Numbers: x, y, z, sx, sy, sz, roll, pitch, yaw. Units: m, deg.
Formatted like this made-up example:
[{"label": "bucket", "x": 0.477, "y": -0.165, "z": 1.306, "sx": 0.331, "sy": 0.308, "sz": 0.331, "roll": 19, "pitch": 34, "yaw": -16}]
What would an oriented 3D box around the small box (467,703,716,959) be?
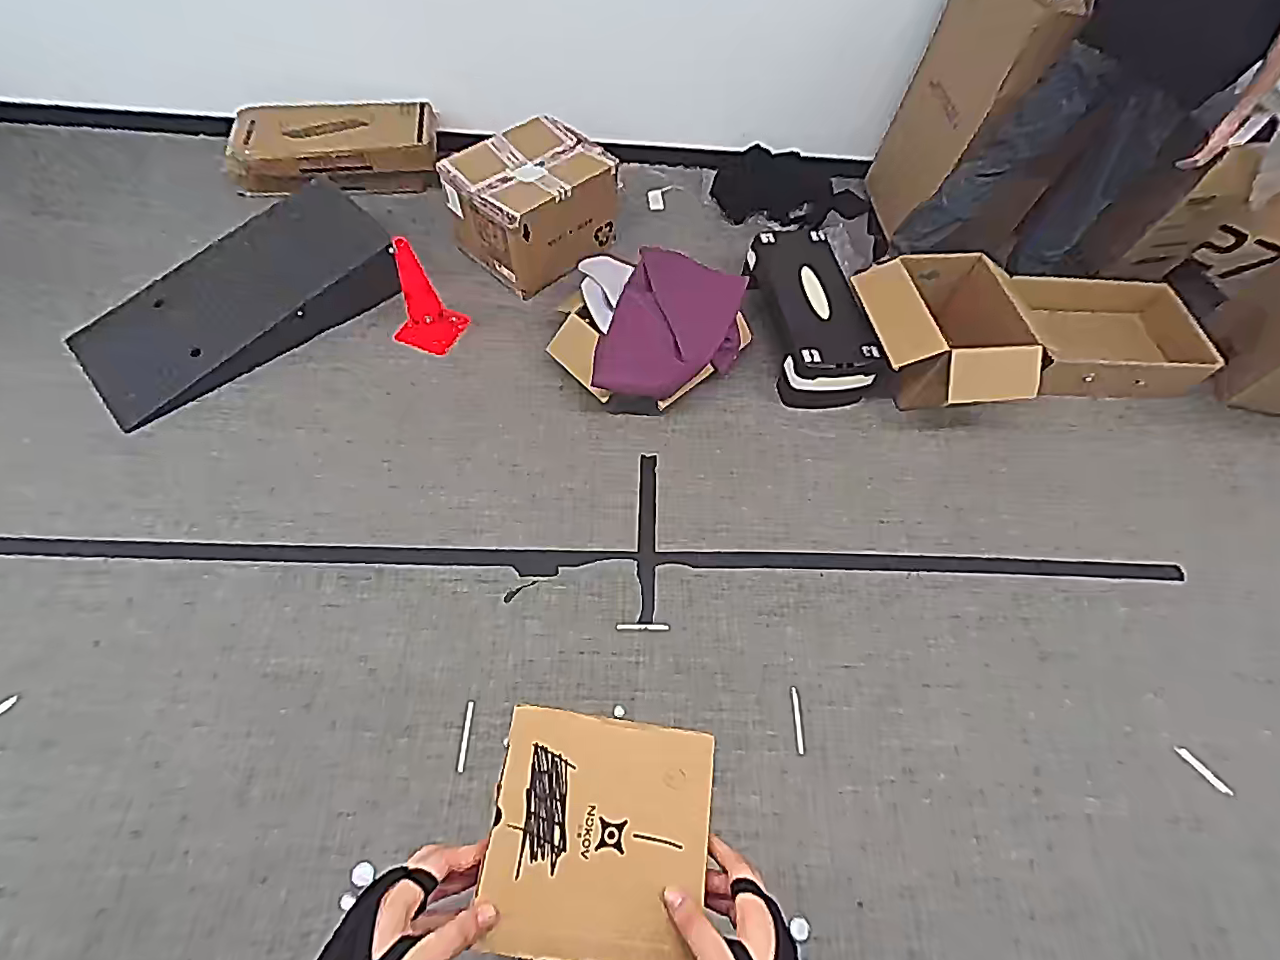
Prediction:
[{"label": "small box", "x": -0.041, "y": 0.312, "z": 0.501, "sx": 0.179, "sy": 0.176, "sz": 0.168, "roll": 11, "pitch": 64, "yaw": -4}]
